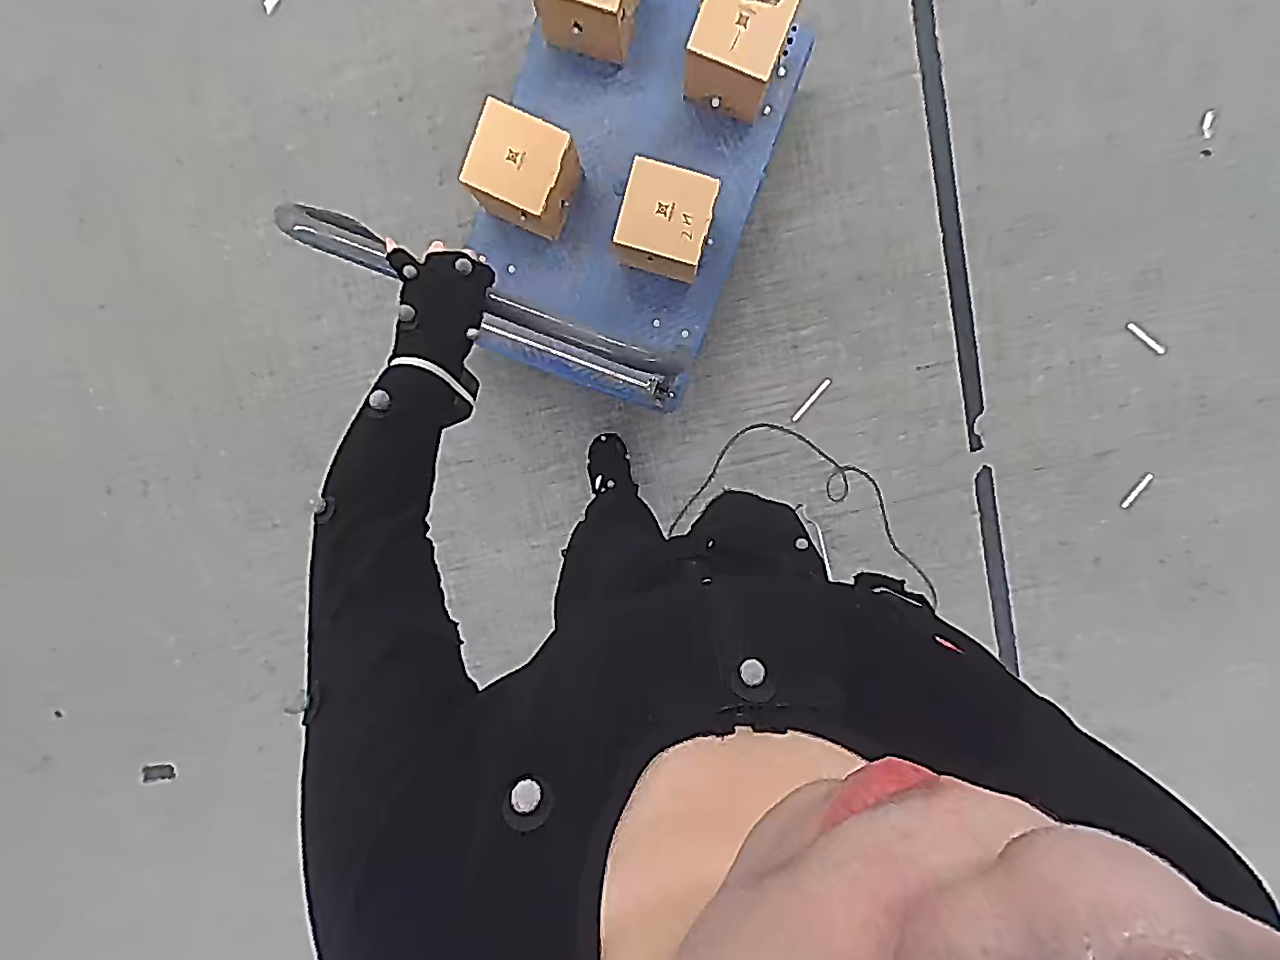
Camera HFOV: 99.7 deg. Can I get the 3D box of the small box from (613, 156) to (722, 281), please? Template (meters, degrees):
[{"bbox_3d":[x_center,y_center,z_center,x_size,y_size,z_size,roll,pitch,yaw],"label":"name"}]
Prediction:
[{"bbox_3d":[0.056,-0.530,1.123,0.179,0.176,0.168,17,99,0],"label":"small box"}]

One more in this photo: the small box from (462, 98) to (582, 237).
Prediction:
[{"bbox_3d":[-0.236,-0.632,1.119,0.179,0.176,0.168,23,98,-3],"label":"small box"}]

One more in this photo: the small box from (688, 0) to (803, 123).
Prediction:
[{"bbox_3d":[0.199,-0.860,1.068,0.168,0.176,0.179,22,100,-1],"label":"small box"}]
